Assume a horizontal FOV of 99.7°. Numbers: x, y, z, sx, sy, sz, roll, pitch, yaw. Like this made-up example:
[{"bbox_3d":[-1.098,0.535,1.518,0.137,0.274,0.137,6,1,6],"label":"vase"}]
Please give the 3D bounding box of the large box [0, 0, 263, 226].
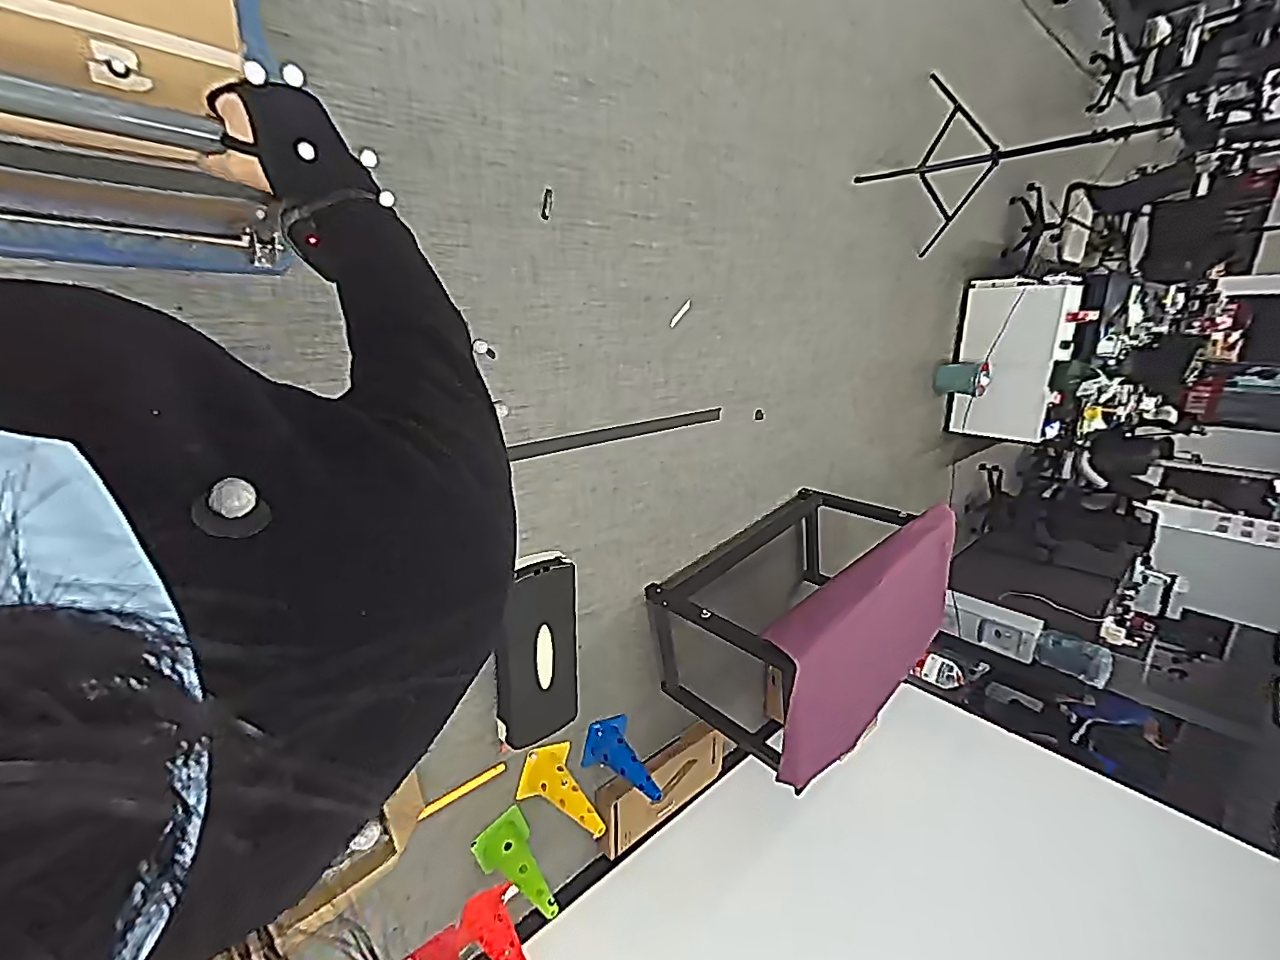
[{"bbox_3d":[-0.798,-0.559,0.733,0.408,0.320,0.320,-11,108,-41],"label":"large box"}]
